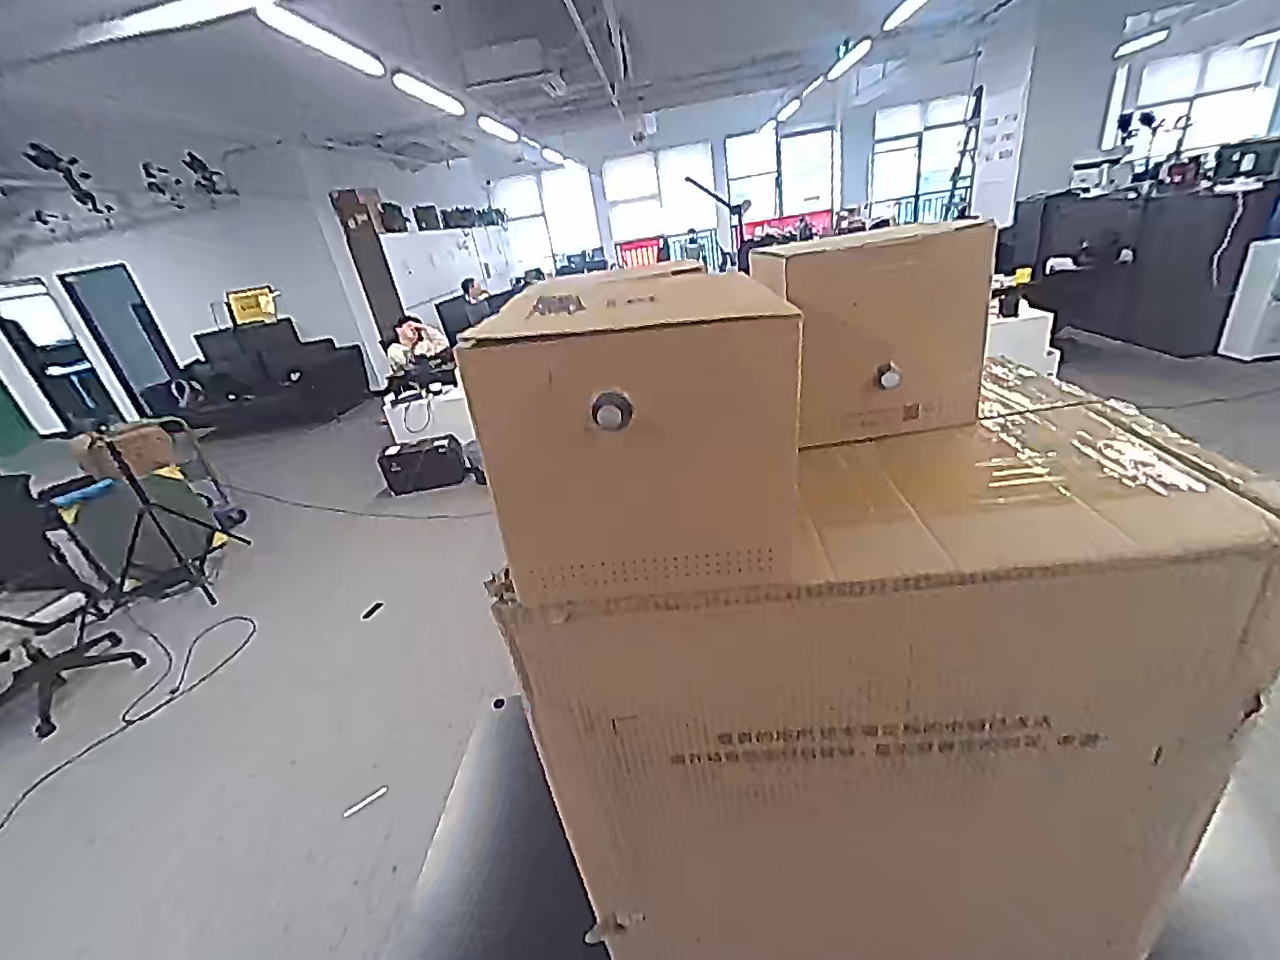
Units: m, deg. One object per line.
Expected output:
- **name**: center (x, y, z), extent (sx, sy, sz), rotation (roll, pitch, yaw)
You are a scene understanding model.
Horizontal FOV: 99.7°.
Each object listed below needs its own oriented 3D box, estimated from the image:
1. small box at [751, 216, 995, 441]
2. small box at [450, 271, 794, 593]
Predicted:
- **small box**: center (0.208, -0.150, 0.530), extent (0.168, 0.176, 0.179), rotation (-9, 24, 5)
- **small box**: center (0.000, -0.038, 0.370), extent (0.179, 0.176, 0.168), rotation (-5, 27, 2)
